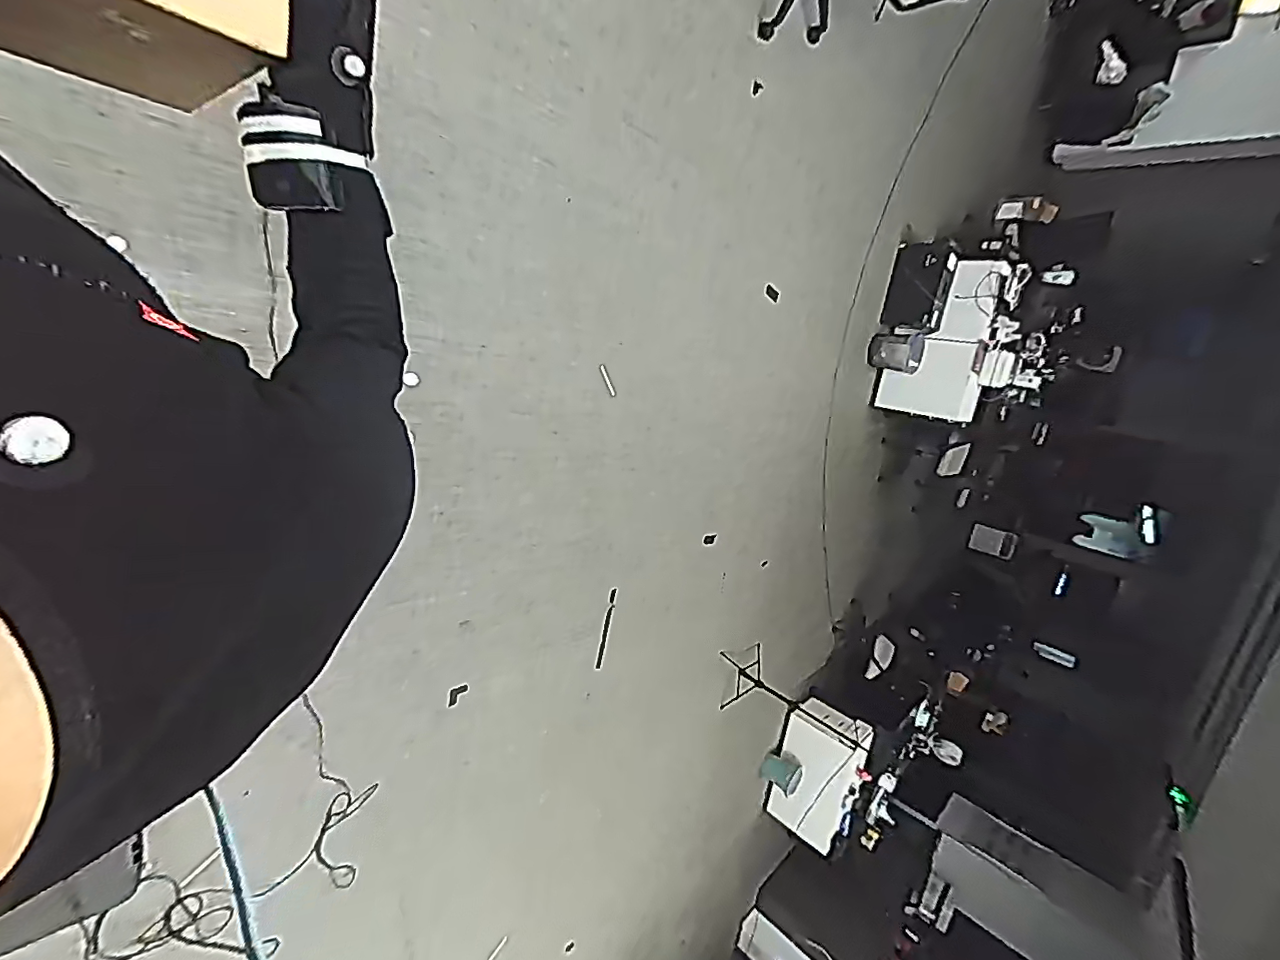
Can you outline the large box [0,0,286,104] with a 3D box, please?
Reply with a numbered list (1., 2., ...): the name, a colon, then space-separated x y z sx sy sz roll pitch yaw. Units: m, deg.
1. large box: -0.454 -0.457 0.266 0.408 0.320 0.320 -7 113 -48
